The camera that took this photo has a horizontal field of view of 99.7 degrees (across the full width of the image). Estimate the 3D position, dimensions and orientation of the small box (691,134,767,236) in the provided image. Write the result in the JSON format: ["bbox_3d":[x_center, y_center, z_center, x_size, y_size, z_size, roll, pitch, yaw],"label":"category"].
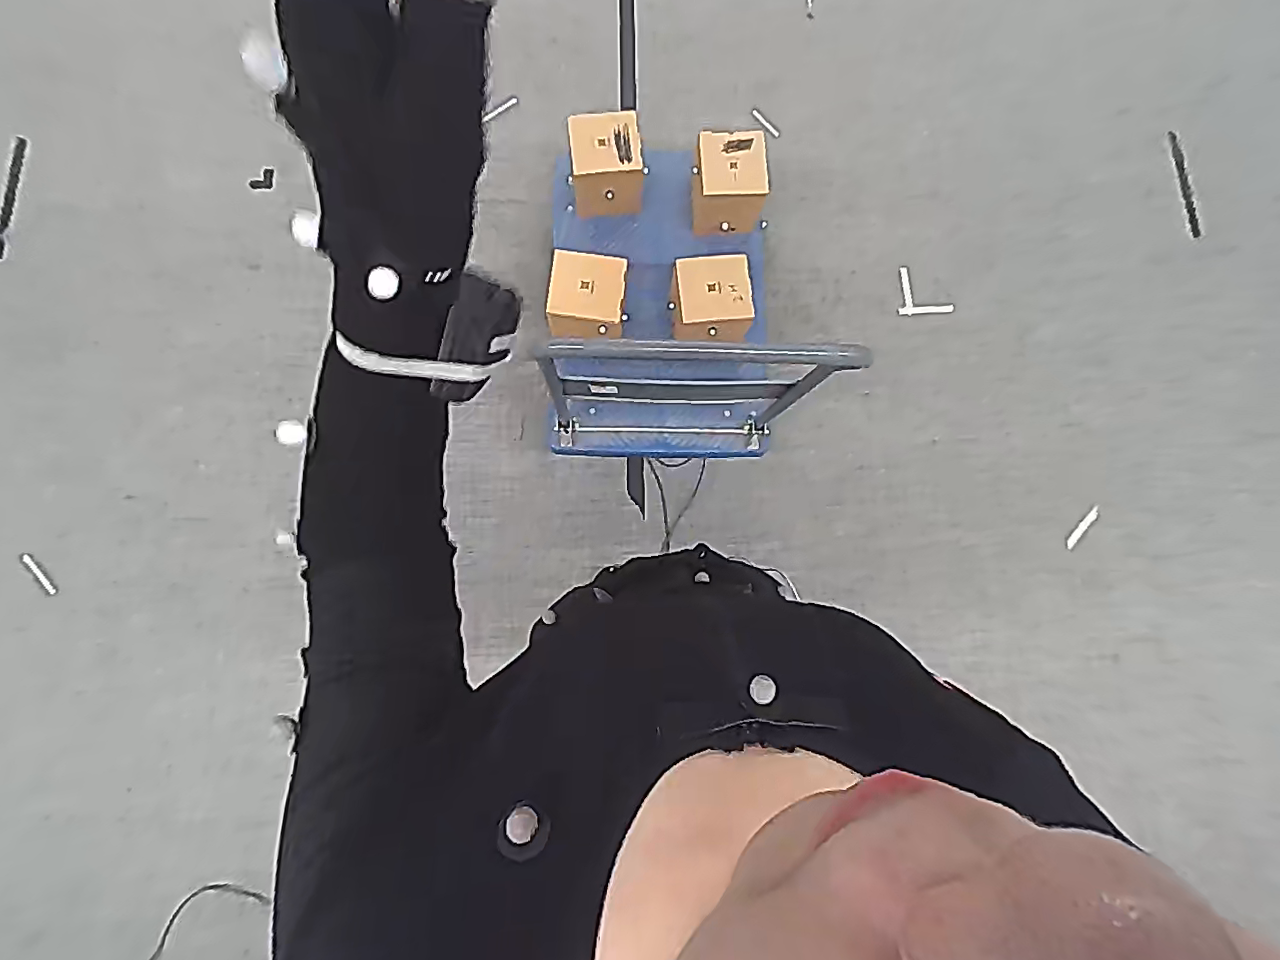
[{"bbox_3d":[0.228,-0.775,1.429,0.168,0.176,0.179,-2,82,-2],"label":"small box"}]

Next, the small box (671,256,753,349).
[{"bbox_3d":[0.175,-0.444,1.375,0.179,0.176,0.168,-5,81,-3],"label":"small box"}]

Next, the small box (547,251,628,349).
[{"bbox_3d":[-0.129,-0.446,1.362,0.179,0.176,0.168,7,80,-3],"label":"small box"}]
